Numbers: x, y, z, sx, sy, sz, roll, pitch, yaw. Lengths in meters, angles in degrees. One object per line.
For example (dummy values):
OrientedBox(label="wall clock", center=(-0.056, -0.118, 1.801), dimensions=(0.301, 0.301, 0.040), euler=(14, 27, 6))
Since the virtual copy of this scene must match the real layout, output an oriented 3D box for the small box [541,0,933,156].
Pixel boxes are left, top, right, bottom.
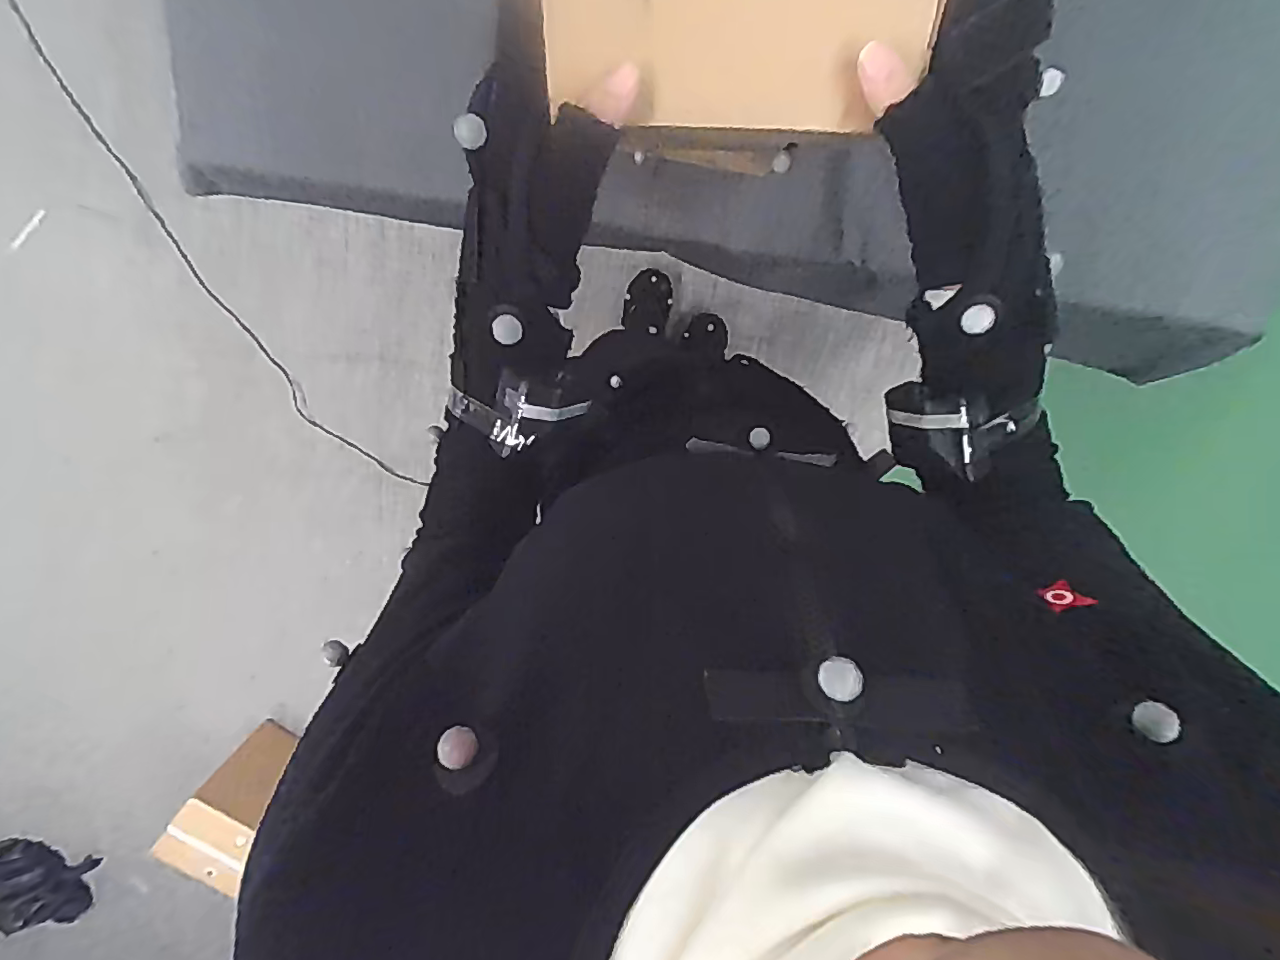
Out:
OrientedBox(label="small box", center=(0.042, -0.279, 0.293), dimensions=(0.179, 0.176, 0.168), euler=(0, 117, 1))
